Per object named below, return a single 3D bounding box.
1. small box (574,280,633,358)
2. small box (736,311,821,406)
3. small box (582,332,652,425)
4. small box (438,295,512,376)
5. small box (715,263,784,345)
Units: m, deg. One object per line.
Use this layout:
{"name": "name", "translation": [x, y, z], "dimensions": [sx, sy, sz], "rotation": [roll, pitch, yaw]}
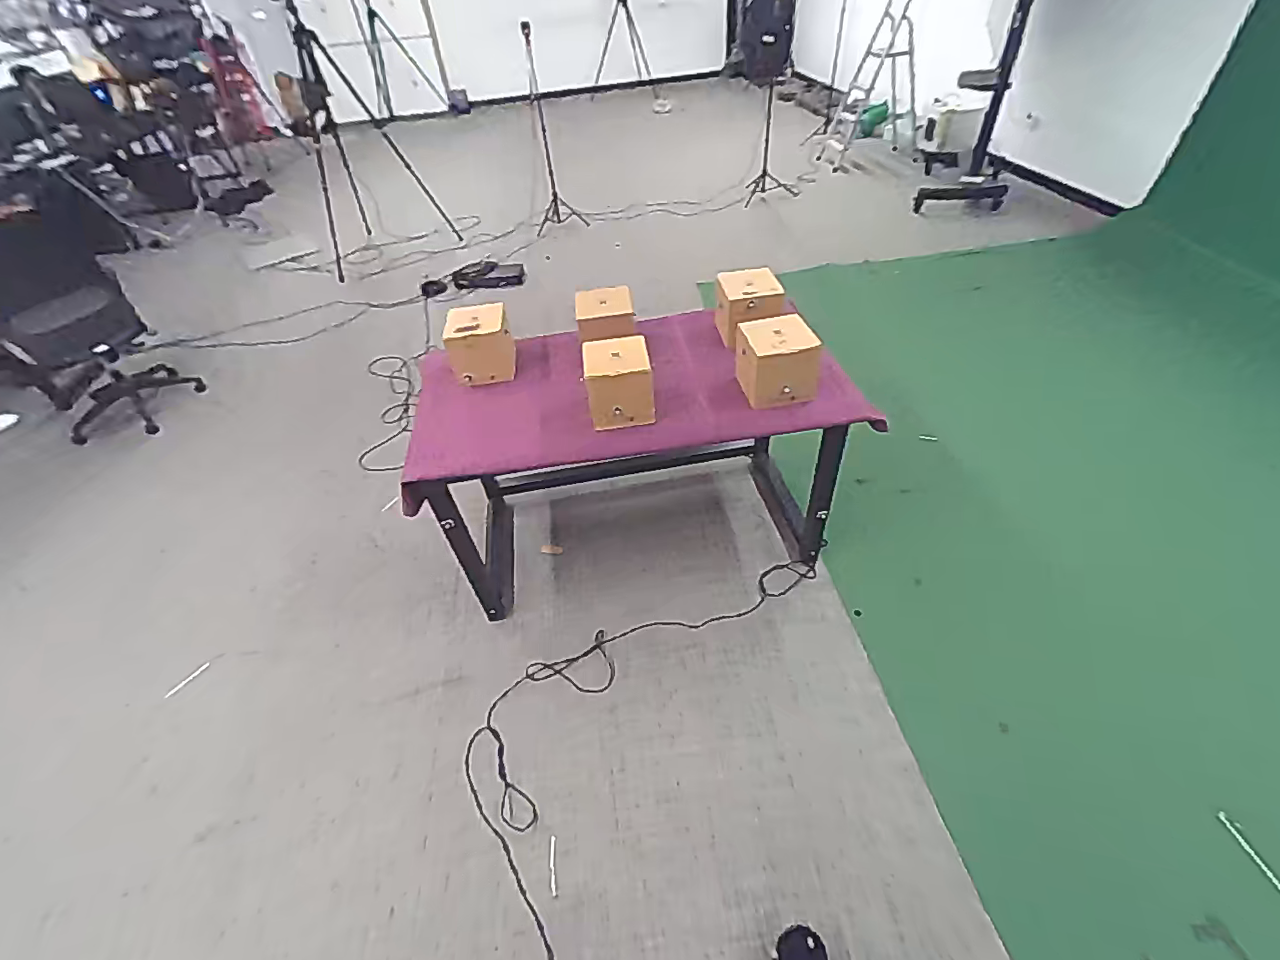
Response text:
{"name": "small box", "translation": [-0.108, -0.480, 1.631], "dimensions": [0.168, 0.176, 0.179], "rotation": [-7, 47, -1]}
{"name": "small box", "translation": [0.356, -0.319, 1.427], "dimensions": [0.168, 0.176, 0.179], "rotation": [-10, 46, -3]}
{"name": "small box", "translation": [-0.060, -0.265, 1.416], "dimensions": [0.168, 0.176, 0.179], "rotation": [-7, 45, -2]}
{"name": "small box", "translation": [-0.480, -0.422, 1.600], "dimensions": [0.168, 0.176, 0.179], "rotation": [-7, 46, -3]}
{"name": "small box", "translation": [0.325, -0.534, 1.643], "dimensions": [0.168, 0.176, 0.179], "rotation": [-8, 46, -2]}
